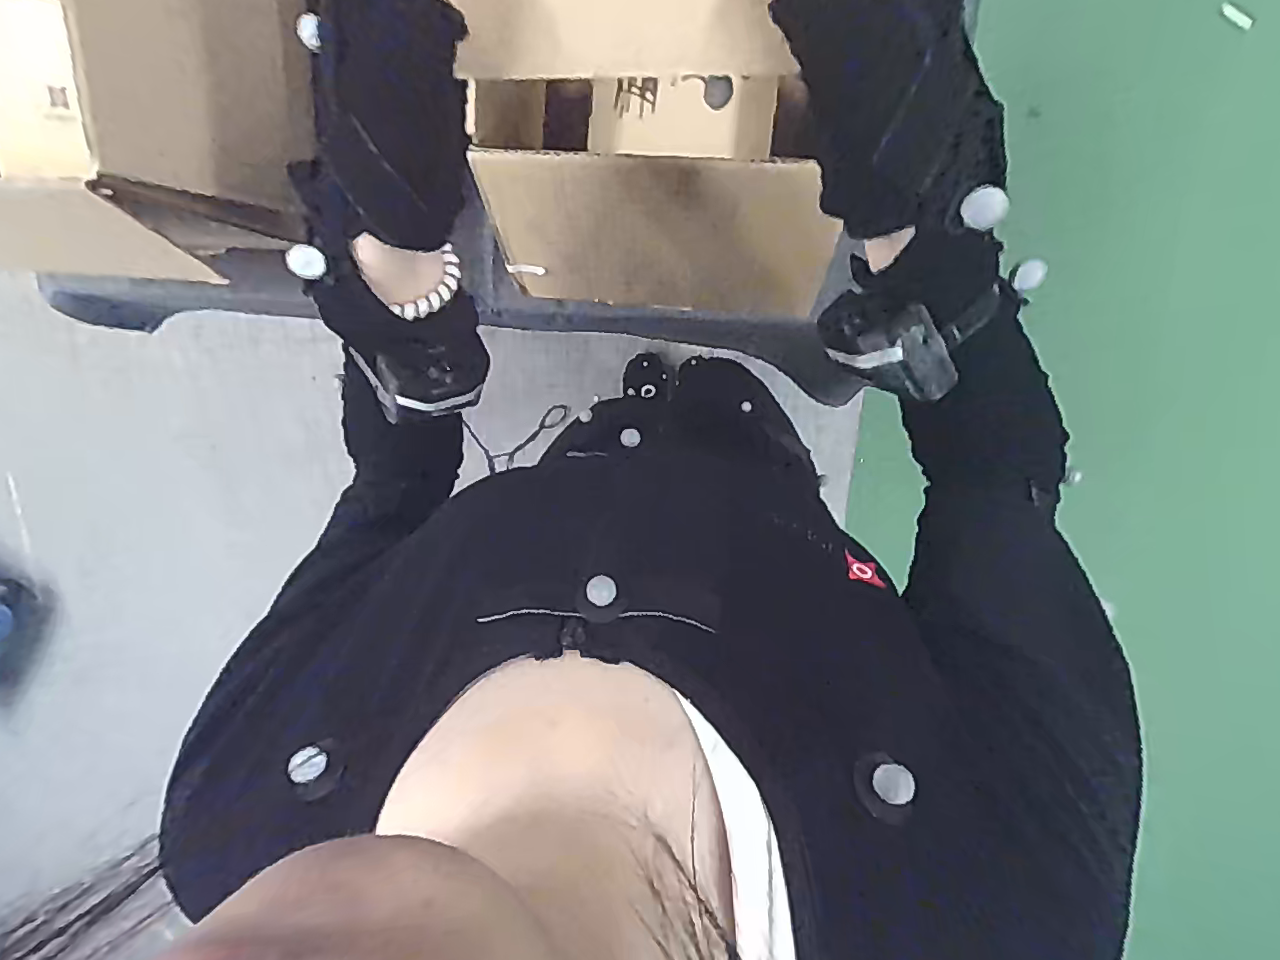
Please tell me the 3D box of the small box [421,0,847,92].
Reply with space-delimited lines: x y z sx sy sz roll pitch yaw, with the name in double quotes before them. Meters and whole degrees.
"small box" -0.003 -0.287 0.241 0.179 0.176 0.168 0 133 -1
